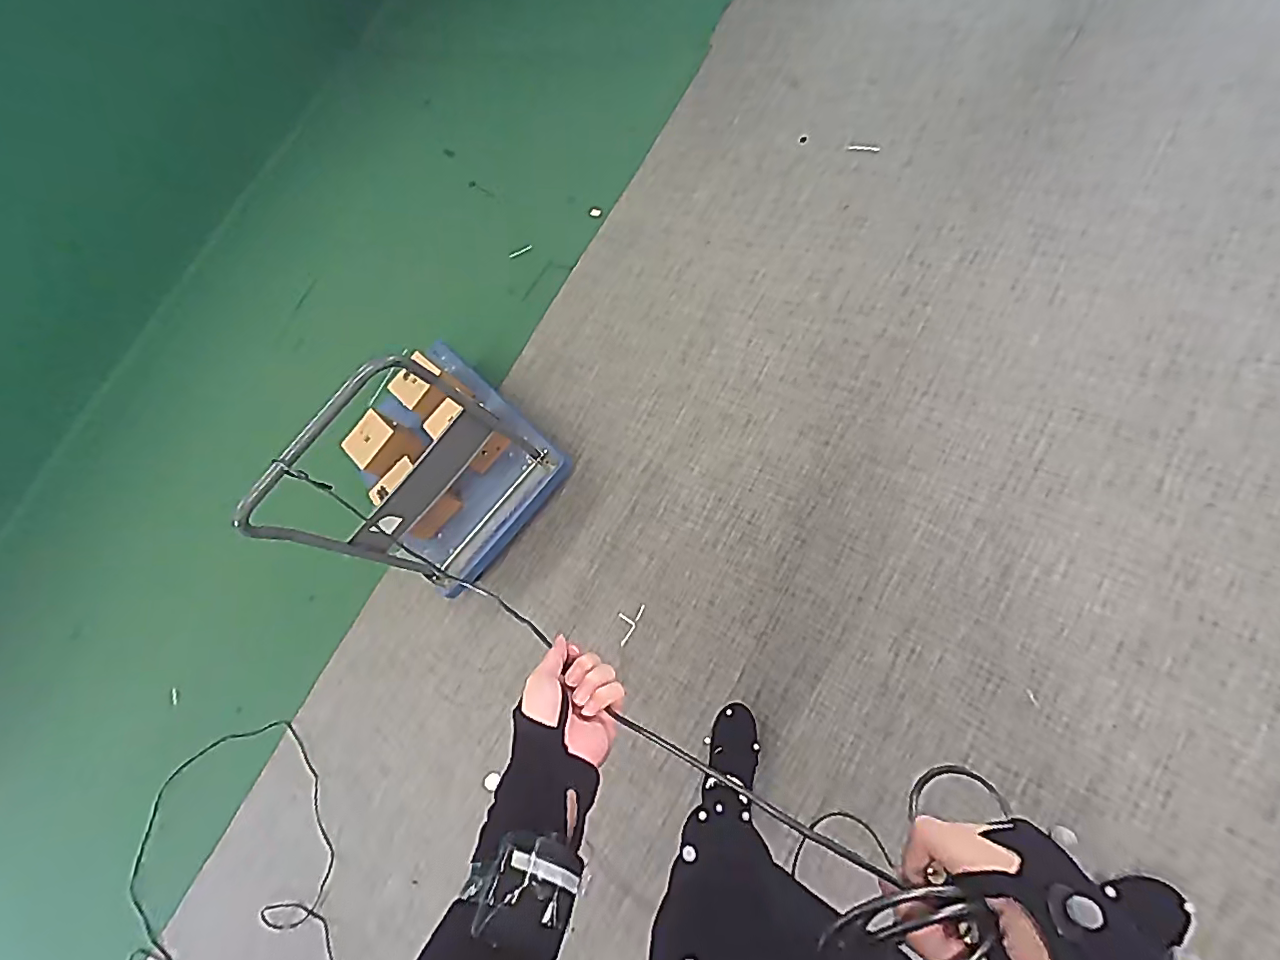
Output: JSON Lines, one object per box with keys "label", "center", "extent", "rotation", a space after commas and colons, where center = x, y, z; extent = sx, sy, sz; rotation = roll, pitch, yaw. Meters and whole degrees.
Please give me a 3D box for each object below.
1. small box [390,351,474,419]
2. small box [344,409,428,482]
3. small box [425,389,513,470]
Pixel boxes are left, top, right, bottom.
{"label": "small box", "center": [-0.723, -0.312, 1.886], "extent": [0.179, 0.176, 0.168], "rotation": [37, 89, 30]}
{"label": "small box", "center": [-0.877, -0.113, 1.880], "extent": [0.179, 0.176, 0.168], "rotation": [37, 88, 31]}
{"label": "small box", "center": [-0.548, -0.157, 1.748], "extent": [0.168, 0.176, 0.179], "rotation": [-48, 59, 1]}
